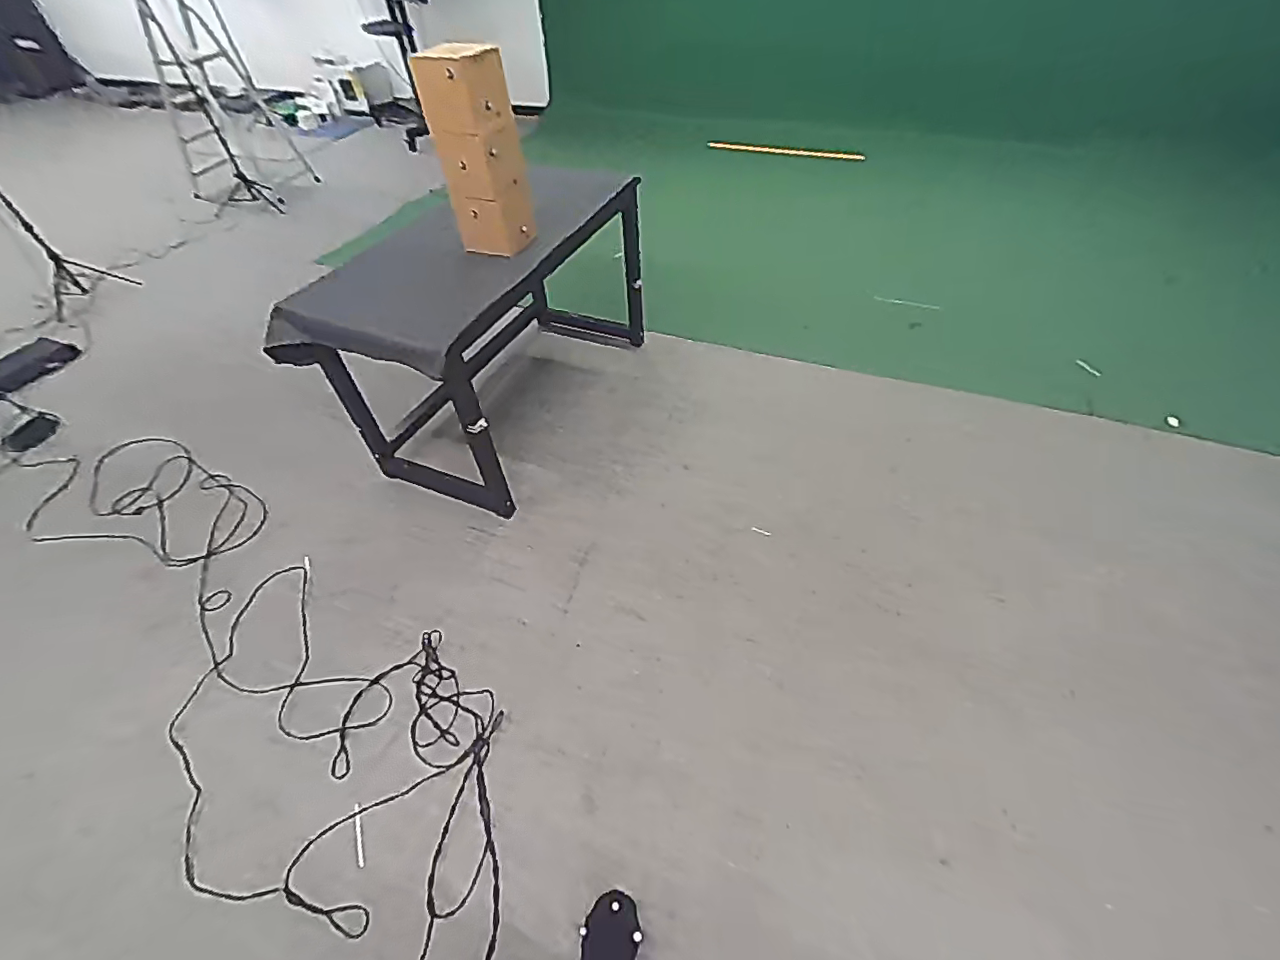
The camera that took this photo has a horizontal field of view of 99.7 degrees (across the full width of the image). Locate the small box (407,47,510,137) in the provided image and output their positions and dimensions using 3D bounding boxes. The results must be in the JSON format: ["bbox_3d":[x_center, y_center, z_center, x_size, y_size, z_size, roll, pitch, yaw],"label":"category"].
[{"bbox_3d":[-0.478,-1.037,1.446,0.179,0.176,0.168,18,51,19],"label":"small box"}]

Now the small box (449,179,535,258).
[{"bbox_3d":[-0.454,-0.813,1.683,0.179,0.176,0.168,15,51,17],"label":"small box"}]
